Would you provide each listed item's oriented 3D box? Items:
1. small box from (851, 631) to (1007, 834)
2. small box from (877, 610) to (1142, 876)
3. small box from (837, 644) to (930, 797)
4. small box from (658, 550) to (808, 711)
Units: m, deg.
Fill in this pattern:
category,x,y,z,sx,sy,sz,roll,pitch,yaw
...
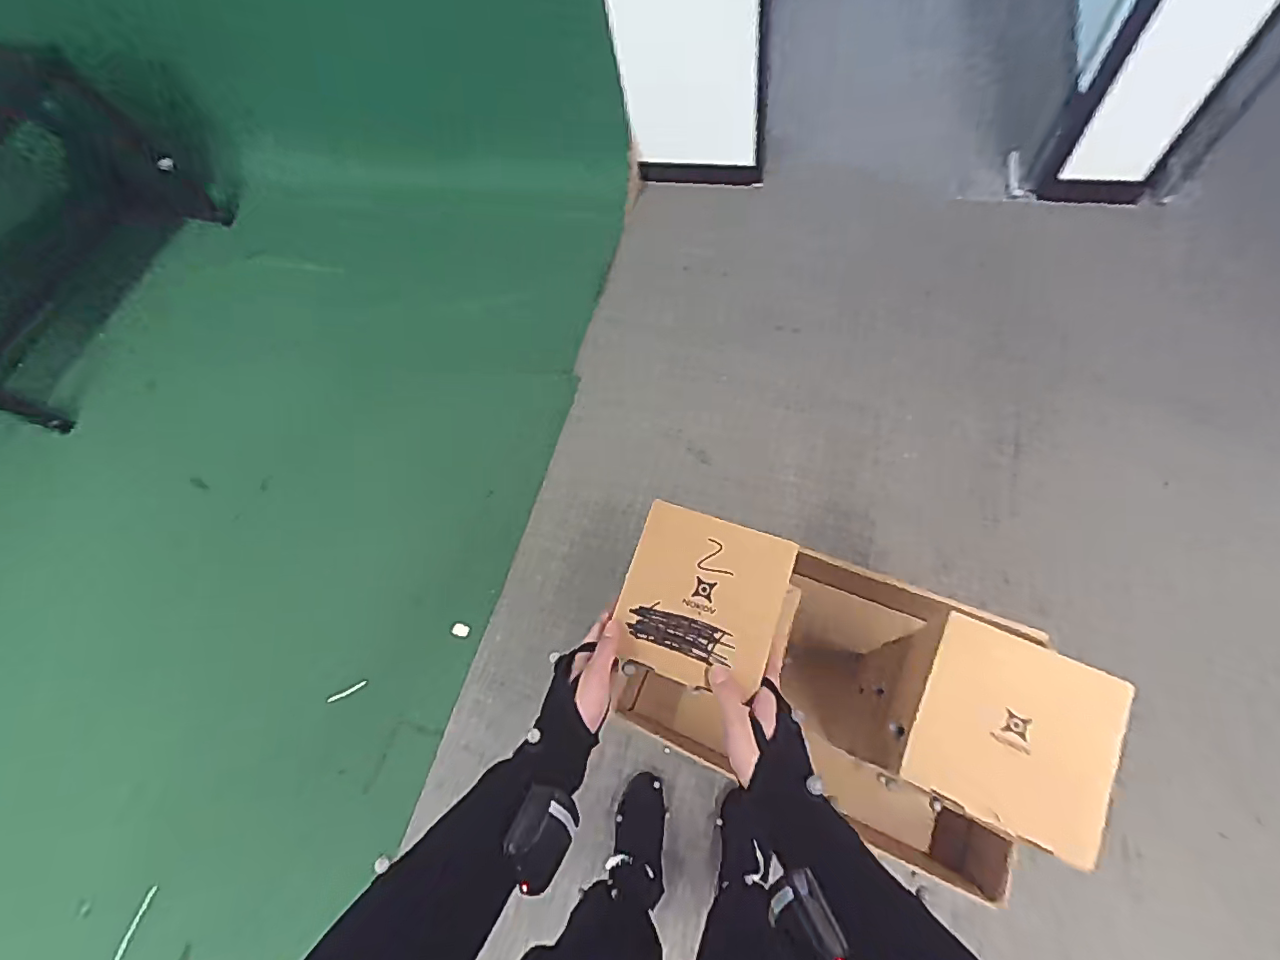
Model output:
category,x,y,z,sx,sy,sz,roll,pitch,yaw
small box,0.401,0.328,0.728,0.168,0.176,0.179,23,74,19
small box,0.375,0.265,0.581,0.168,0.176,0.179,22,74,19
small box,0.435,0.390,0.875,0.168,0.176,0.179,23,74,20
small box,0.141,0.230,0.816,0.168,0.176,0.179,16,72,18
